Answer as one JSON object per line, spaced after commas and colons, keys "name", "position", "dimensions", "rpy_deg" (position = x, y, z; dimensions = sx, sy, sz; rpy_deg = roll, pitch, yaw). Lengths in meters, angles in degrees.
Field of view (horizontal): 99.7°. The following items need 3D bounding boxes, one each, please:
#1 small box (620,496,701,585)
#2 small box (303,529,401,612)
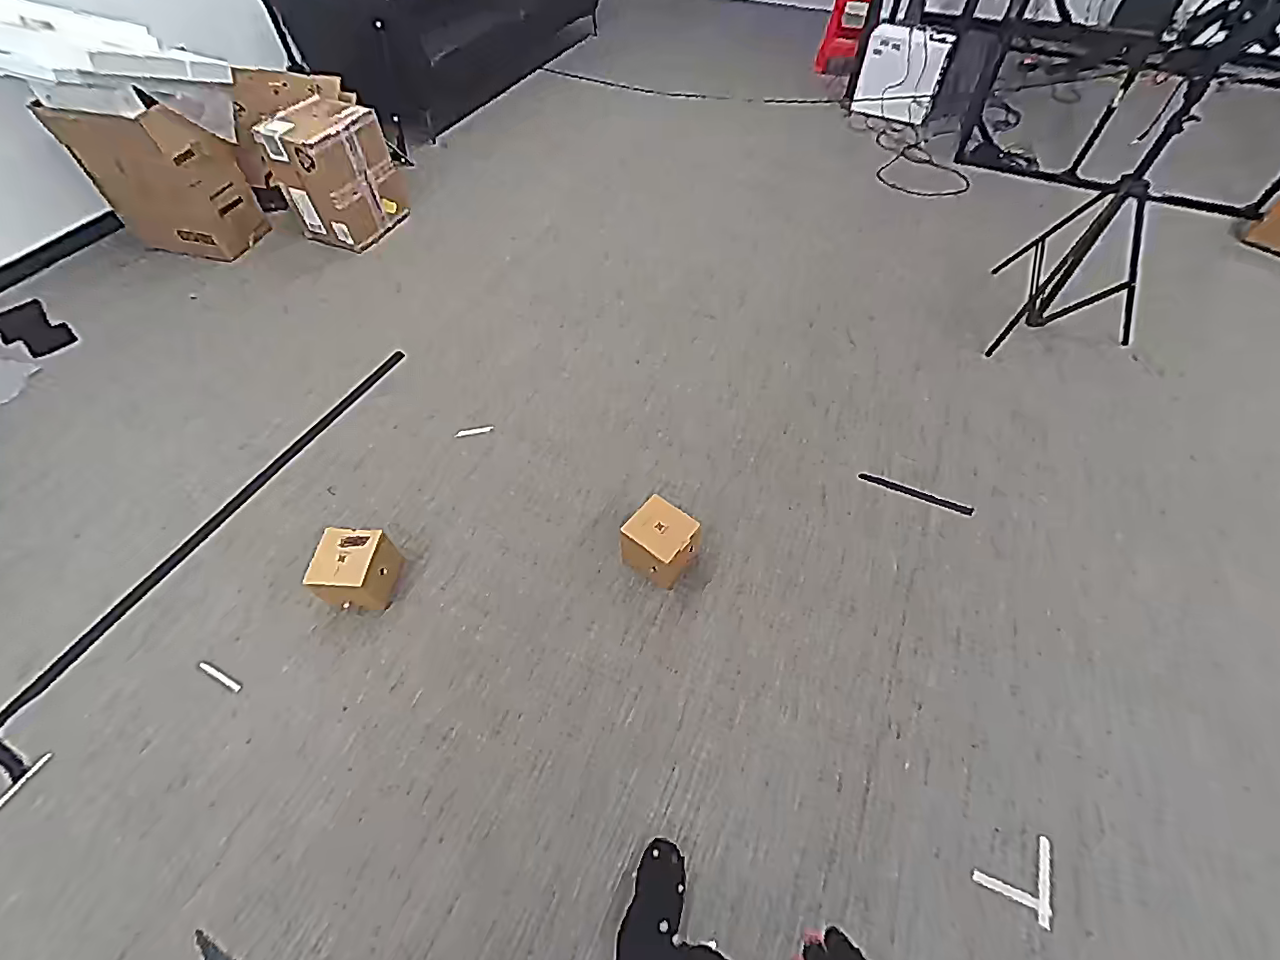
{"name": "small box", "position": [0.059, 0.186, 1.596], "dimensions": [0.179, 0.176, 0.168], "rpy_deg": [32, 59, 23]}
{"name": "small box", "position": [-0.809, 0.260, 1.544], "dimensions": [0.168, 0.176, 0.179], "rpy_deg": [3, 55, 3]}
